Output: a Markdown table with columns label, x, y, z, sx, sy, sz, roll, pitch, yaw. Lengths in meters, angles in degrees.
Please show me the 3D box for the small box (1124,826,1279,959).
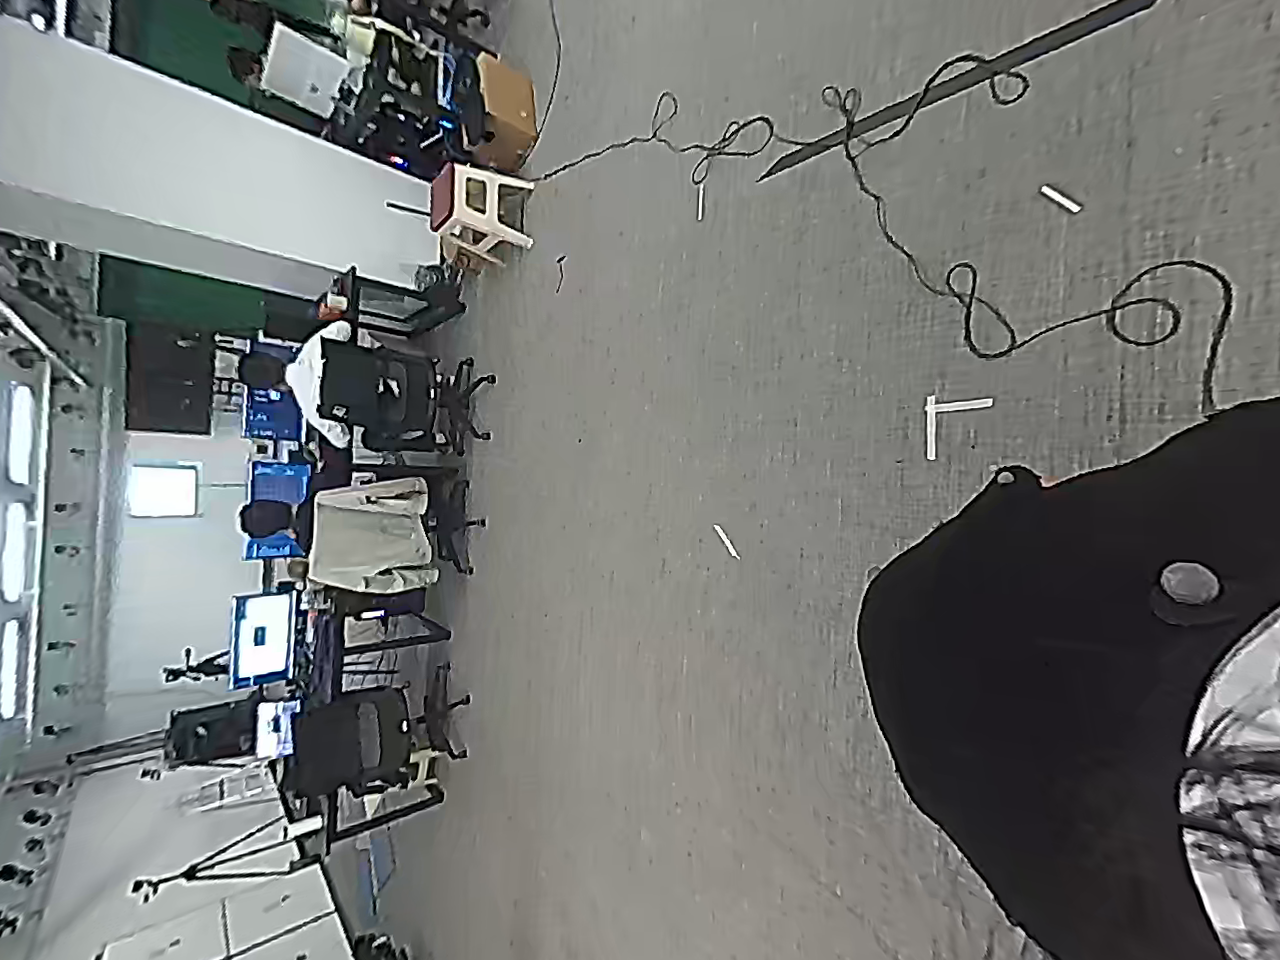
| label | x | y | z | sx | sy | sz | roll | pitch | yaw |
| --- | --- | --- | --- | --- | --- | --- | --- | --- | --- |
| small box | 0.698 | 0.560 | 0.644 | 0.168 | 0.176 | 0.179 | 7 | 91 | 48 |
